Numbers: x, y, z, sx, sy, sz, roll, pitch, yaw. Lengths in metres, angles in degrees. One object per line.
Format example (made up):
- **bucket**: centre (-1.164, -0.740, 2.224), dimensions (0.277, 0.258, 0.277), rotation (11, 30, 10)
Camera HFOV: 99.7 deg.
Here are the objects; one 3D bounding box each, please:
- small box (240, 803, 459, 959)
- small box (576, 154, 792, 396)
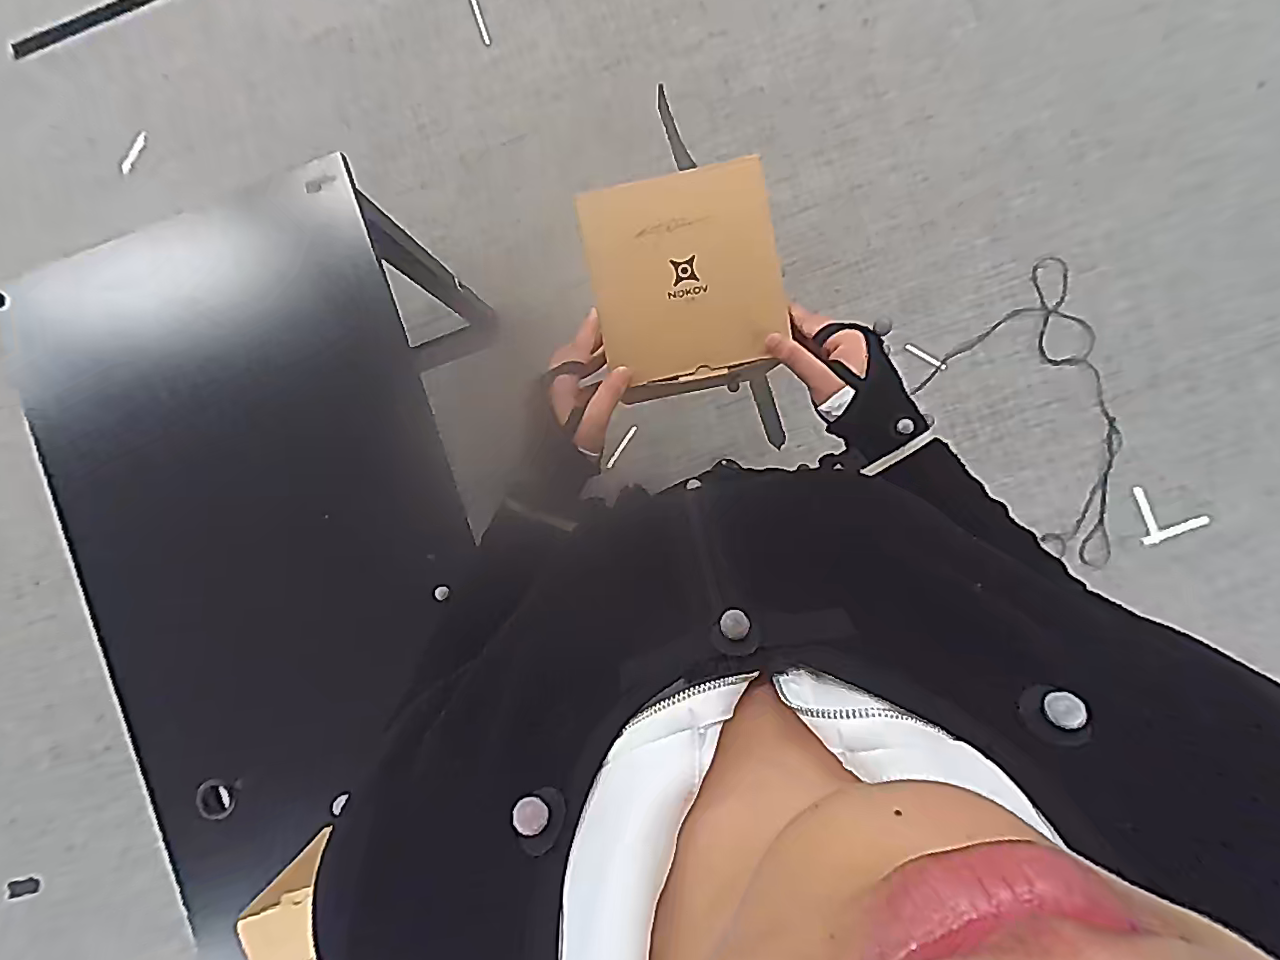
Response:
- **small box**: centre (-0.371, 0.568, 0.721), dimensions (0.168, 0.176, 0.179), rotation (-21, 89, 3)
- **small box**: centre (0.041, -0.187, 0.551), dimensions (0.168, 0.176, 0.179), rotation (-12, 93, 2)
